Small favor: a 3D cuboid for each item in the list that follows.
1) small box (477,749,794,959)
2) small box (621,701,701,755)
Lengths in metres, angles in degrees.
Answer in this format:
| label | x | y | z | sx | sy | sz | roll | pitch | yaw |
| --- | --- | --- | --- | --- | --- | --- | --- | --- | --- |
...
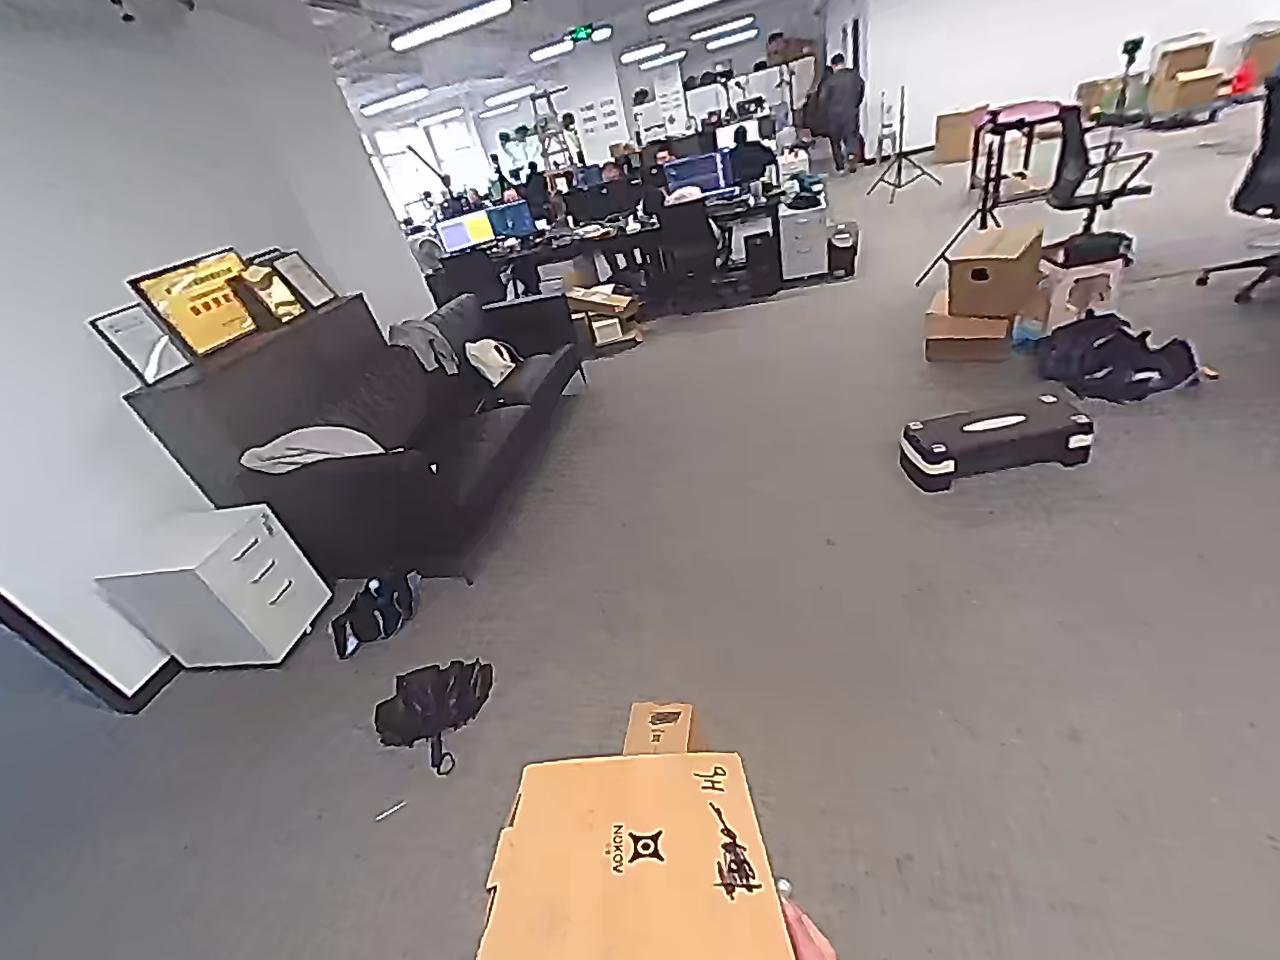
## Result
| label | x | y | z | sx | sy | sz | roll | pitch | yaw |
| --- | --- | --- | --- | --- | --- | --- | --- | --- | --- |
| small box | 0.002 | 0.321 | 0.379 | 0.179 | 0.176 | 0.168 | -3 | 13 | 0 |
| small box | 0.061 | 0.700 | 1.397 | 0.168 | 0.176 | 0.179 | -6 | 35 | 17 |
